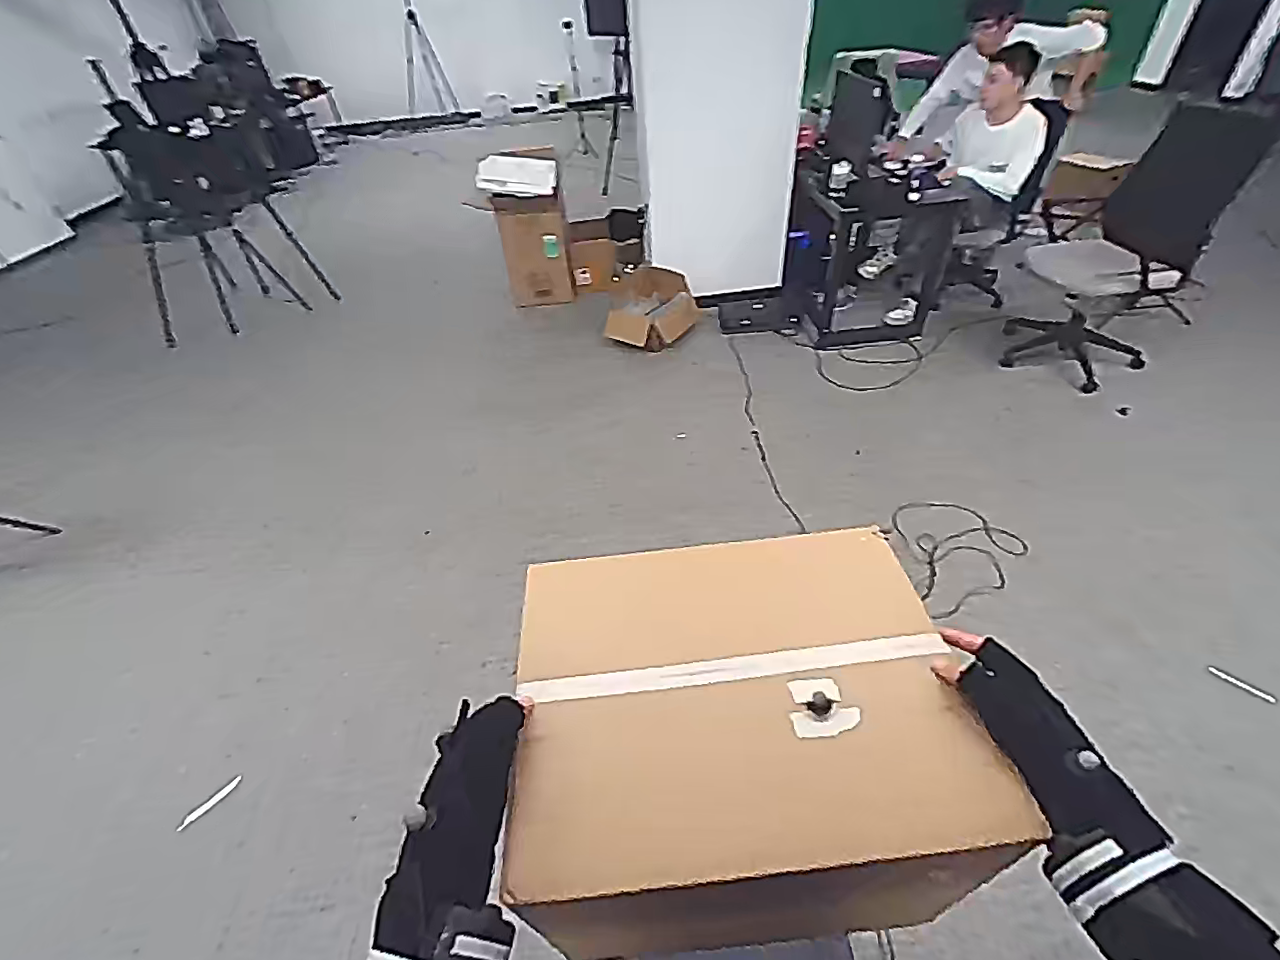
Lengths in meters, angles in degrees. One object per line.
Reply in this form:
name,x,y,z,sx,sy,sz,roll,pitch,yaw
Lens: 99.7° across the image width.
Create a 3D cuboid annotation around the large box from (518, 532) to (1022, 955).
large box,0.097,0.295,0.621,0.408,0.320,0.320,-6,42,-1
